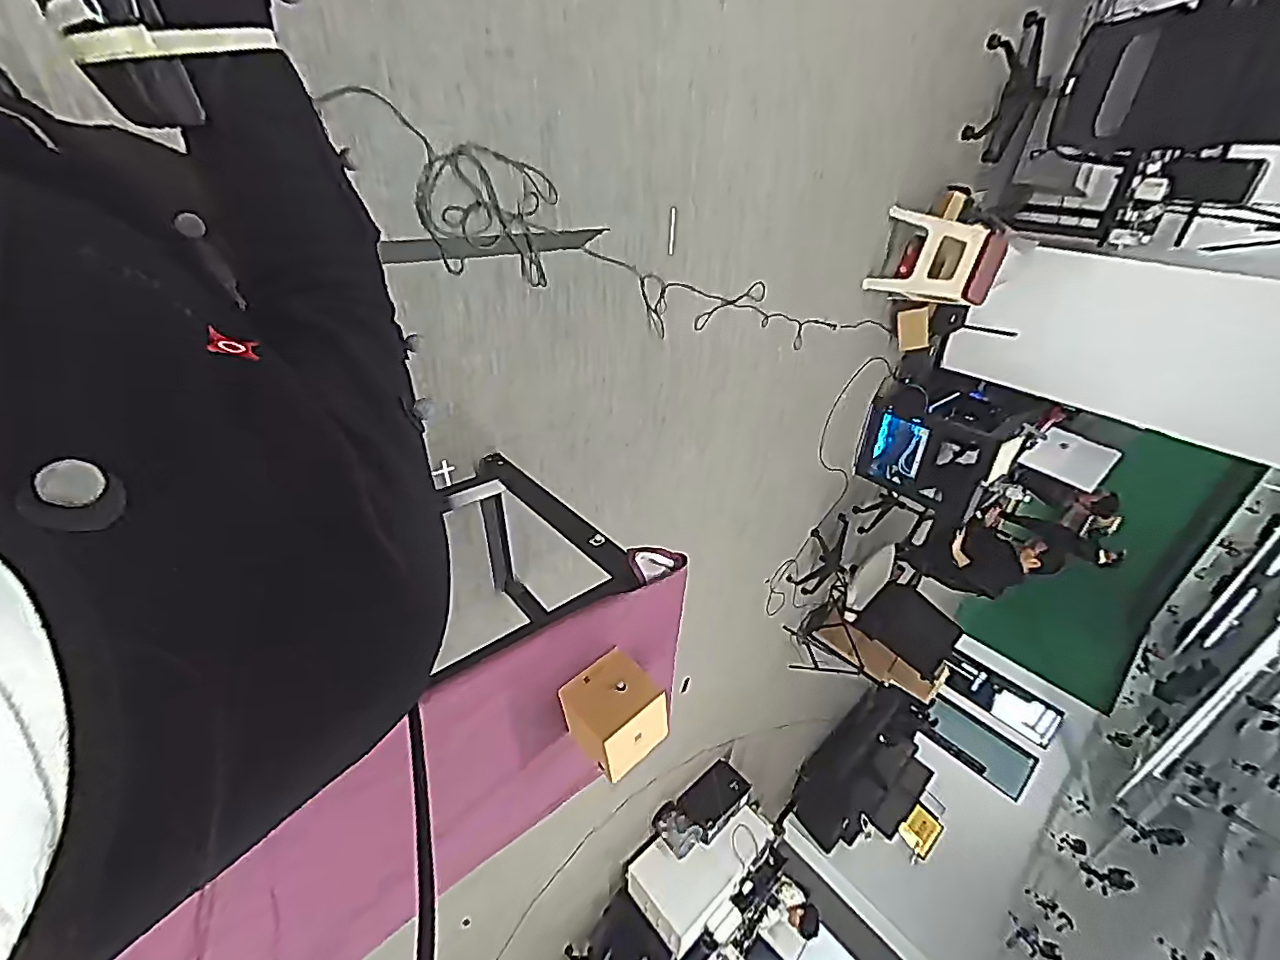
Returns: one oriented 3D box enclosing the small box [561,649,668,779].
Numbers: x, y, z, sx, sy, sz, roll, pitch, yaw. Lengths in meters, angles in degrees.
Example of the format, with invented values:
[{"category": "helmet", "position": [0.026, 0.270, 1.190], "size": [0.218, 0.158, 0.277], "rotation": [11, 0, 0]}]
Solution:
[{"category": "small box", "position": [-0.056, 0.503, 1.193], "size": [0.168, 0.176, 0.179], "rotation": [-30, 133, -30]}]
